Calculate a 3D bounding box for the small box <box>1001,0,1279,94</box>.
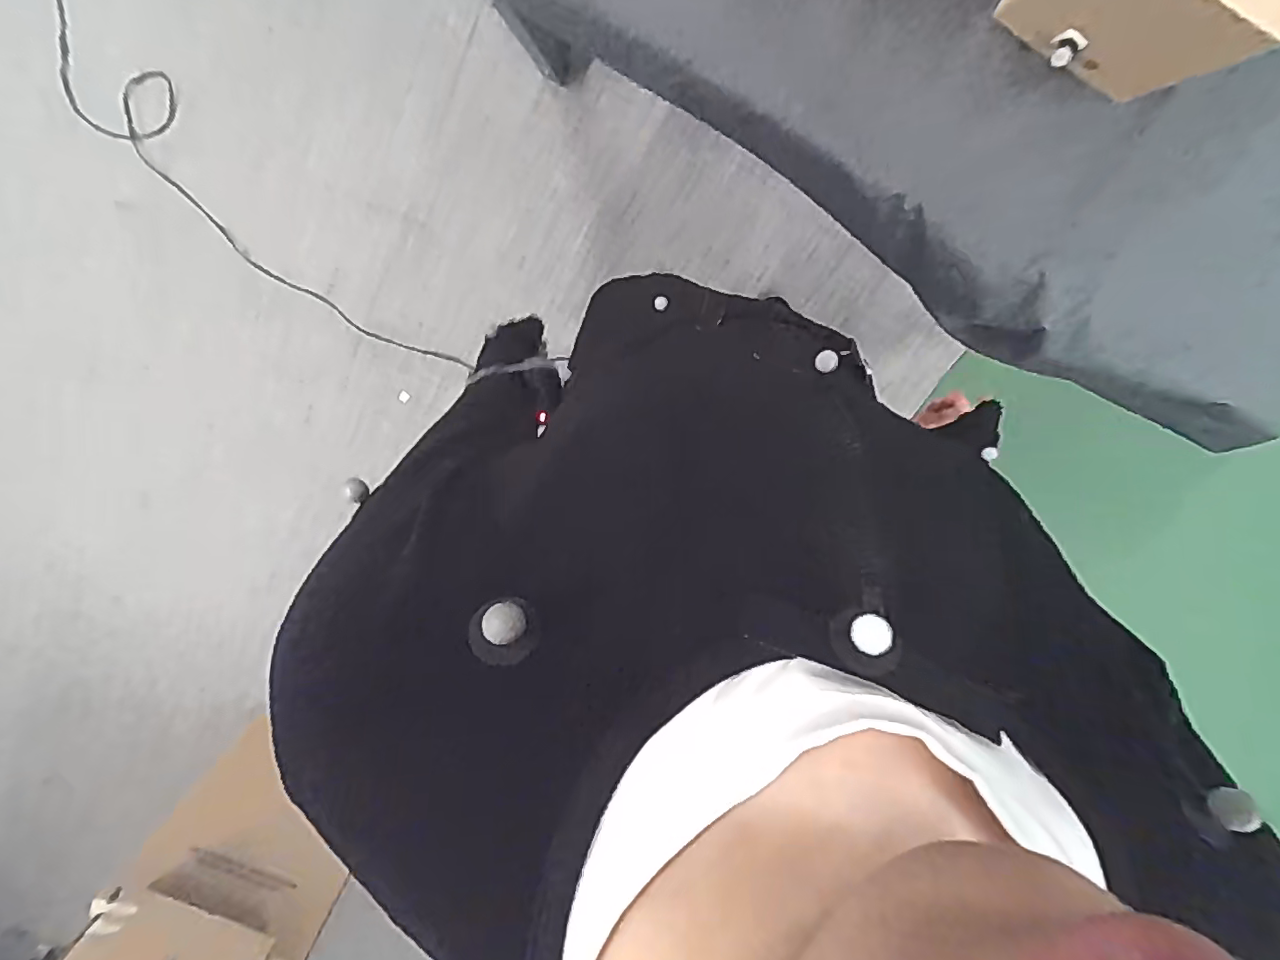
[{"bbox_3d":[0.450,-0.464,0.438,0.168,0.176,0.179,26,112,-6],"label":"small box"}]
